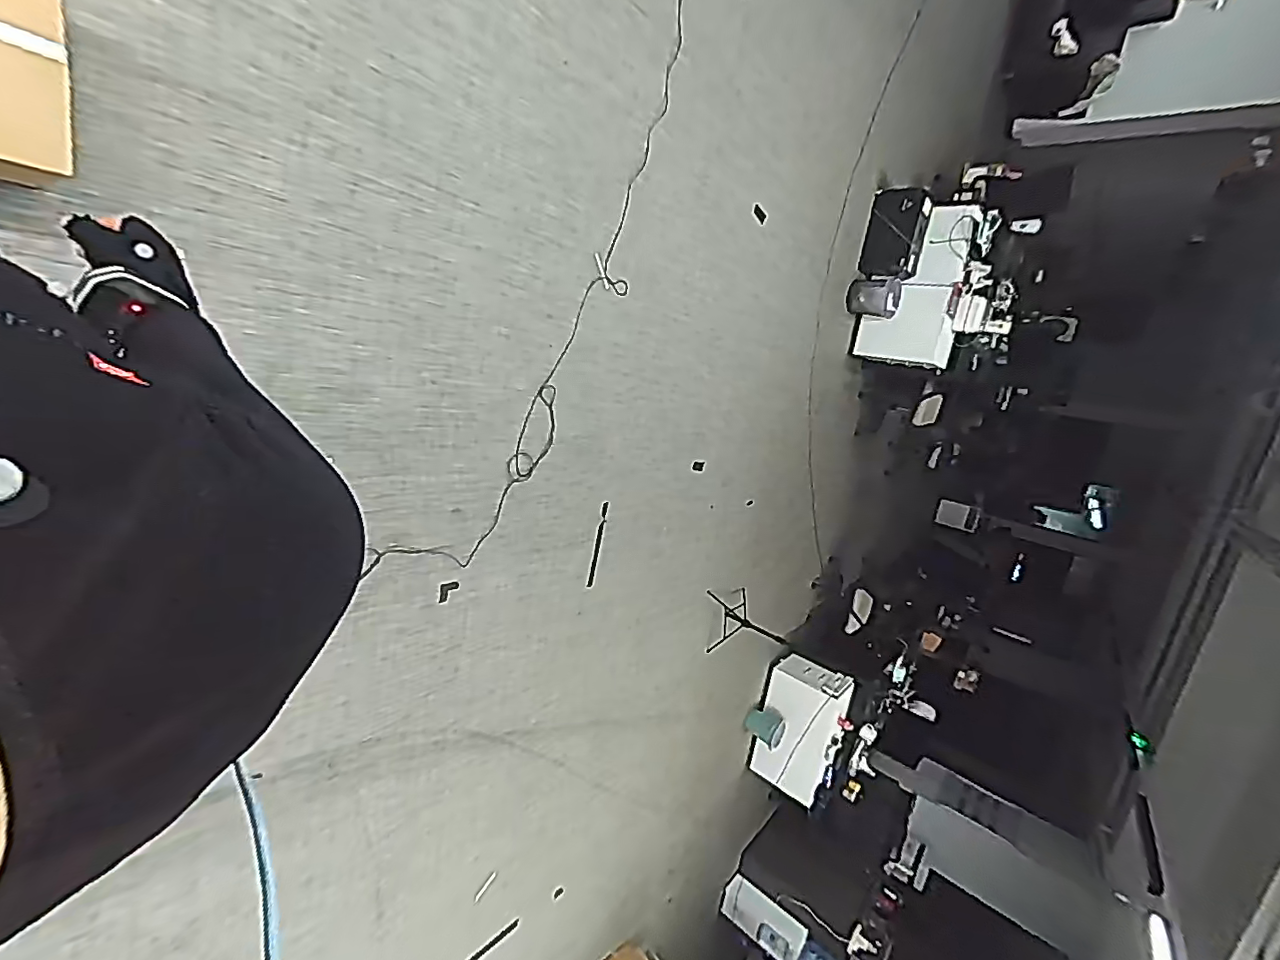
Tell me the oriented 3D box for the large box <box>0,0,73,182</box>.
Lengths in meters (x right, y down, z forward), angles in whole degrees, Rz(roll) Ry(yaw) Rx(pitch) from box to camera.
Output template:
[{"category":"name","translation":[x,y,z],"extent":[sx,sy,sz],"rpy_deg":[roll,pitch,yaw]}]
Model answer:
[{"category":"large box","translation":[-1.043,-0.619,0.687],"extent":[0.408,0.320,0.320],"rpy_deg":[-6,111,-52]}]
